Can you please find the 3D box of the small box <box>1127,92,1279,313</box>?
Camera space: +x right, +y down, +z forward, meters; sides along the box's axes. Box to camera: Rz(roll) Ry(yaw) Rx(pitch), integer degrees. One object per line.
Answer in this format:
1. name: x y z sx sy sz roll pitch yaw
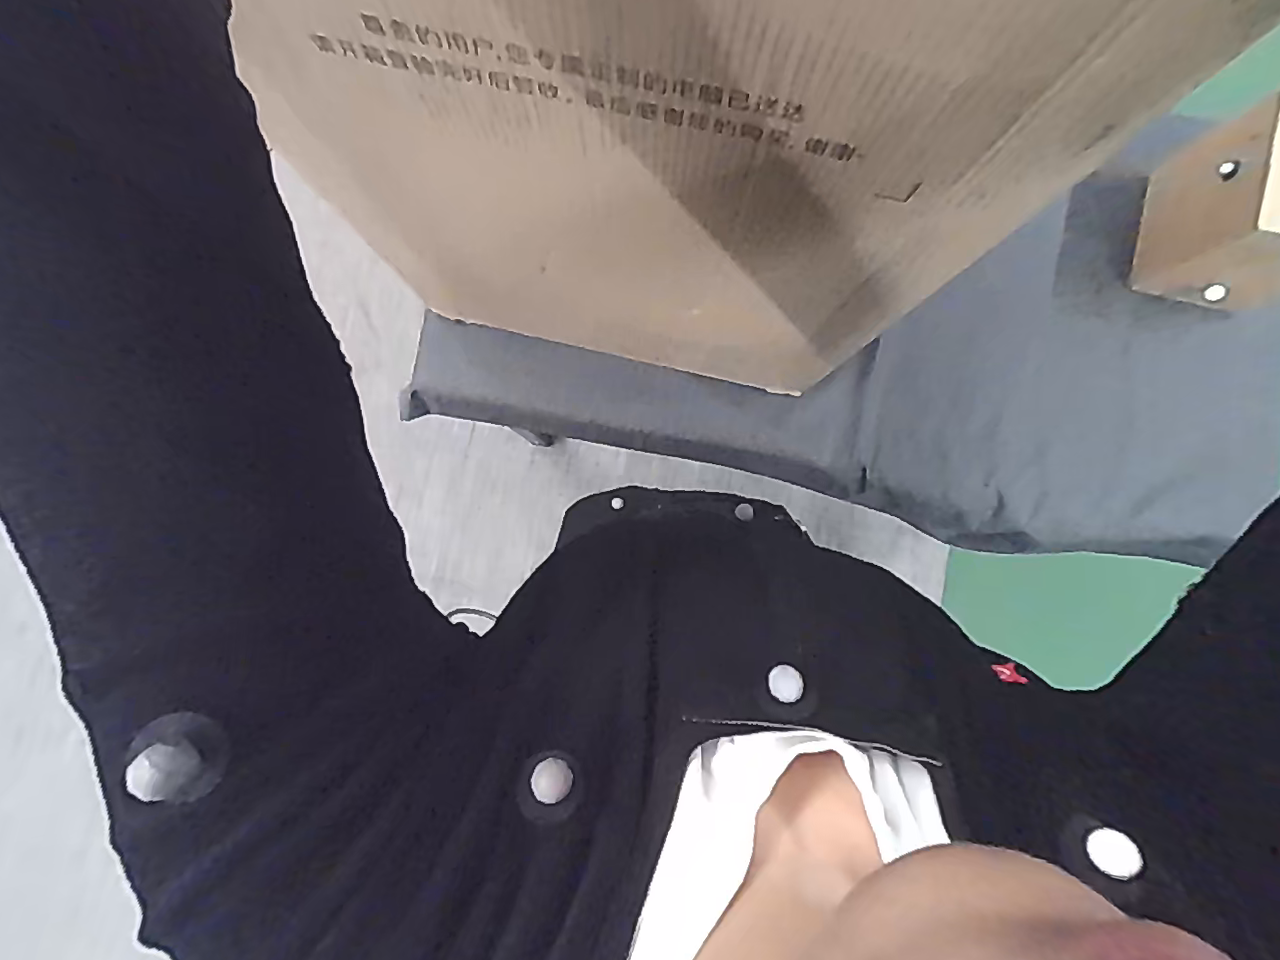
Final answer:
1. small box: 0.795 -0.345 0.704 0.168 0.176 0.179 14 87 1
